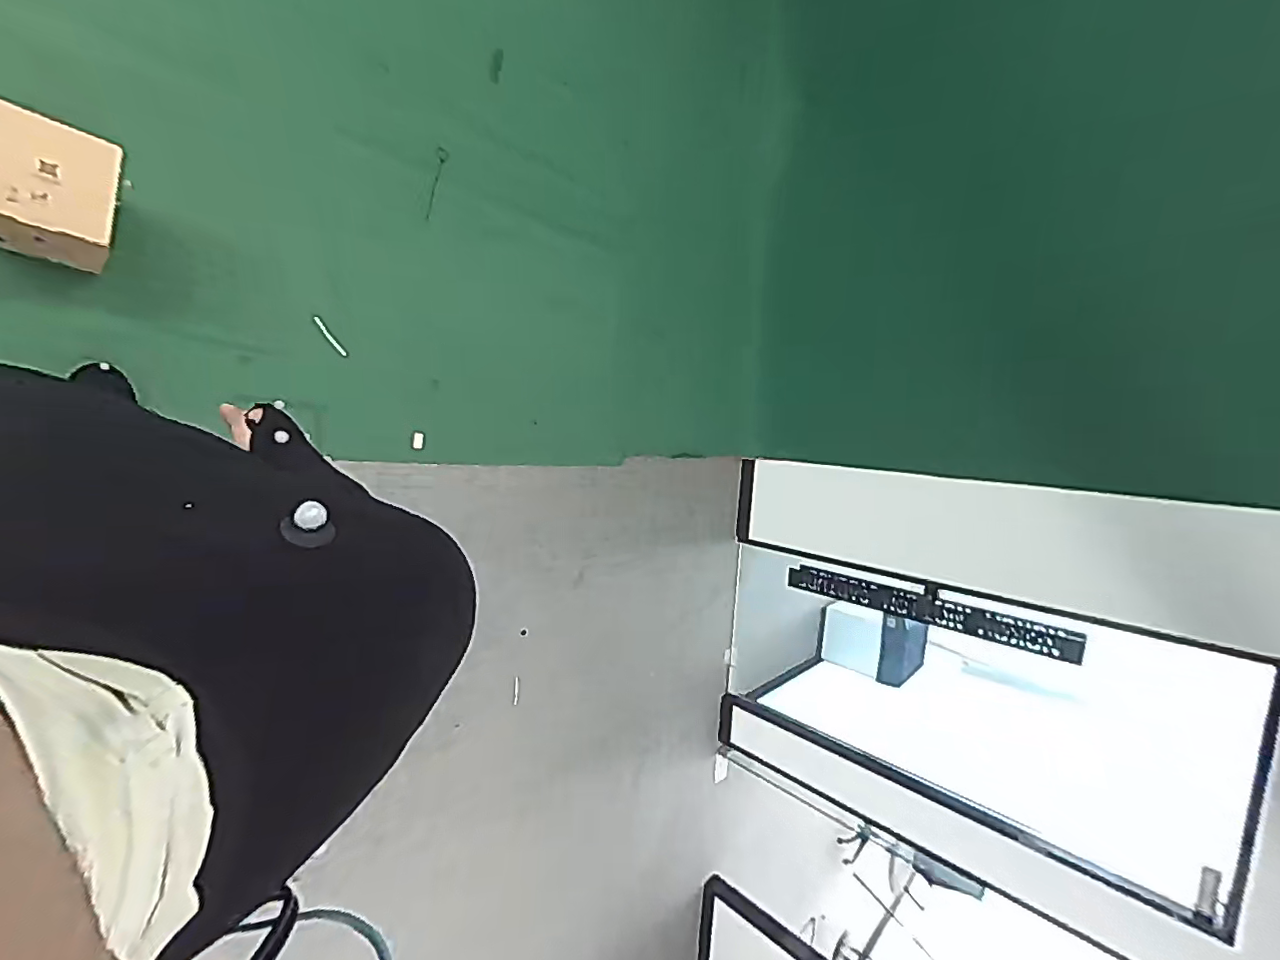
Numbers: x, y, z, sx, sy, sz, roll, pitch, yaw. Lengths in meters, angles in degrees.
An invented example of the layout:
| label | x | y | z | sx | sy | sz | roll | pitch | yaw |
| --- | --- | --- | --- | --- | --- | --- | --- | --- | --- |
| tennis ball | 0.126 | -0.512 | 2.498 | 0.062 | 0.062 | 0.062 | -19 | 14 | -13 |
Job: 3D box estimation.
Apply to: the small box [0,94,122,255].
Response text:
| label | x | y | z | sx | sy | sz | roll | pitch | yaw |
| --- | --- | --- | --- | --- | --- | --- | --- | --- | --- |
| small box | -1.019 | -0.512 | 0.925 | 0.168 | 0.176 | 0.179 | 8 | 91 | -47 |
